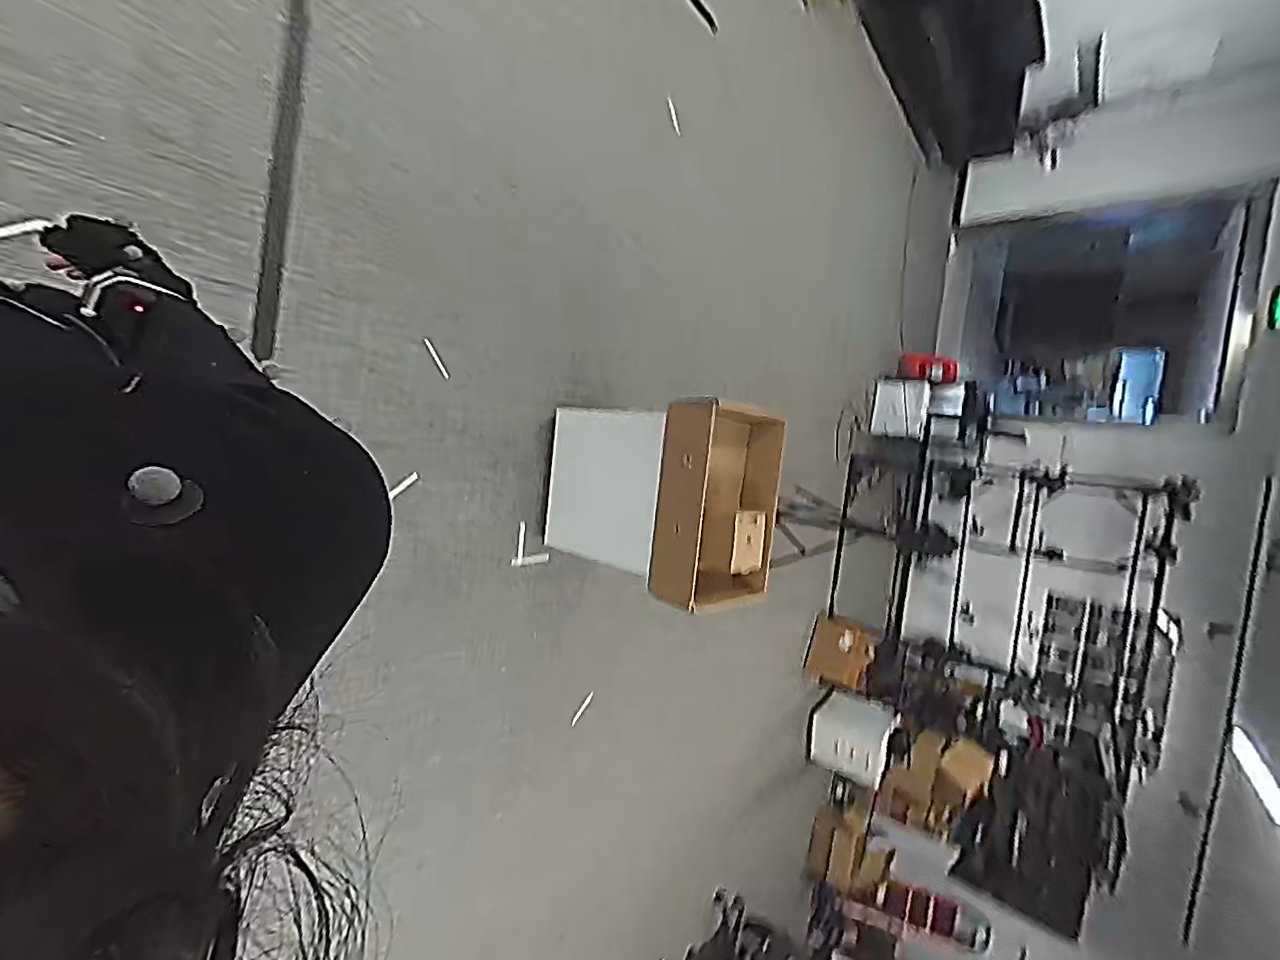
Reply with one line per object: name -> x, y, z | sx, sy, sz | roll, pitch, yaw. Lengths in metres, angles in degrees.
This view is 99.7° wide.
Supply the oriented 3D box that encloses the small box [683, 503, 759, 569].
small box -> 0.253, 0.173, 1.715 | 0.168, 0.176, 0.179 | 3, 93, -46
